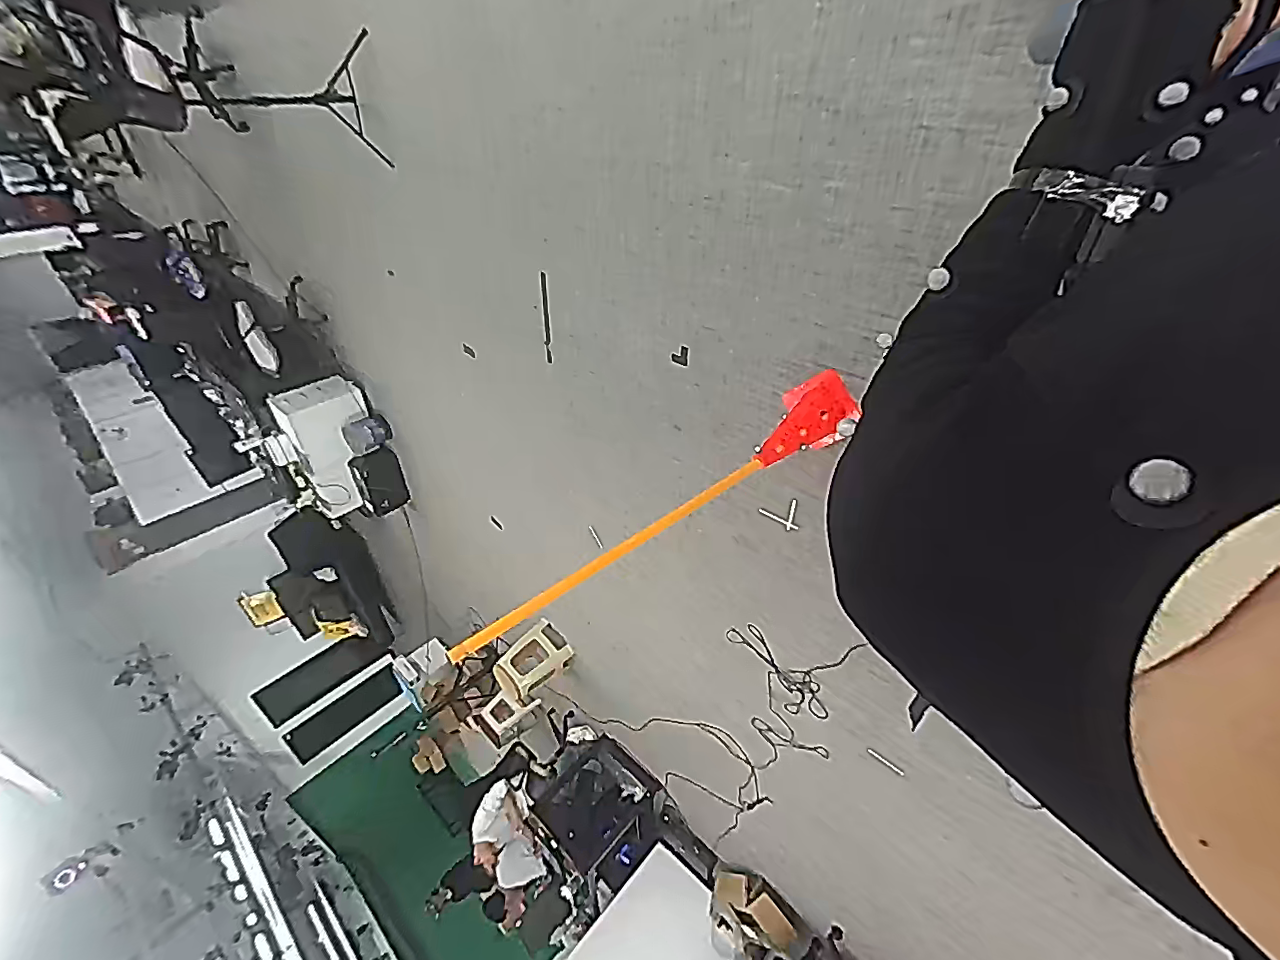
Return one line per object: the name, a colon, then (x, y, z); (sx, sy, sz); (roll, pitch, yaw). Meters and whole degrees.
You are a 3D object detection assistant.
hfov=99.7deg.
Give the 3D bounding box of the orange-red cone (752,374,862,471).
orange-red cone: (0.412, -0.119, 1.465); (0.199, 0.360, 0.198); (-27, 96, 52)
